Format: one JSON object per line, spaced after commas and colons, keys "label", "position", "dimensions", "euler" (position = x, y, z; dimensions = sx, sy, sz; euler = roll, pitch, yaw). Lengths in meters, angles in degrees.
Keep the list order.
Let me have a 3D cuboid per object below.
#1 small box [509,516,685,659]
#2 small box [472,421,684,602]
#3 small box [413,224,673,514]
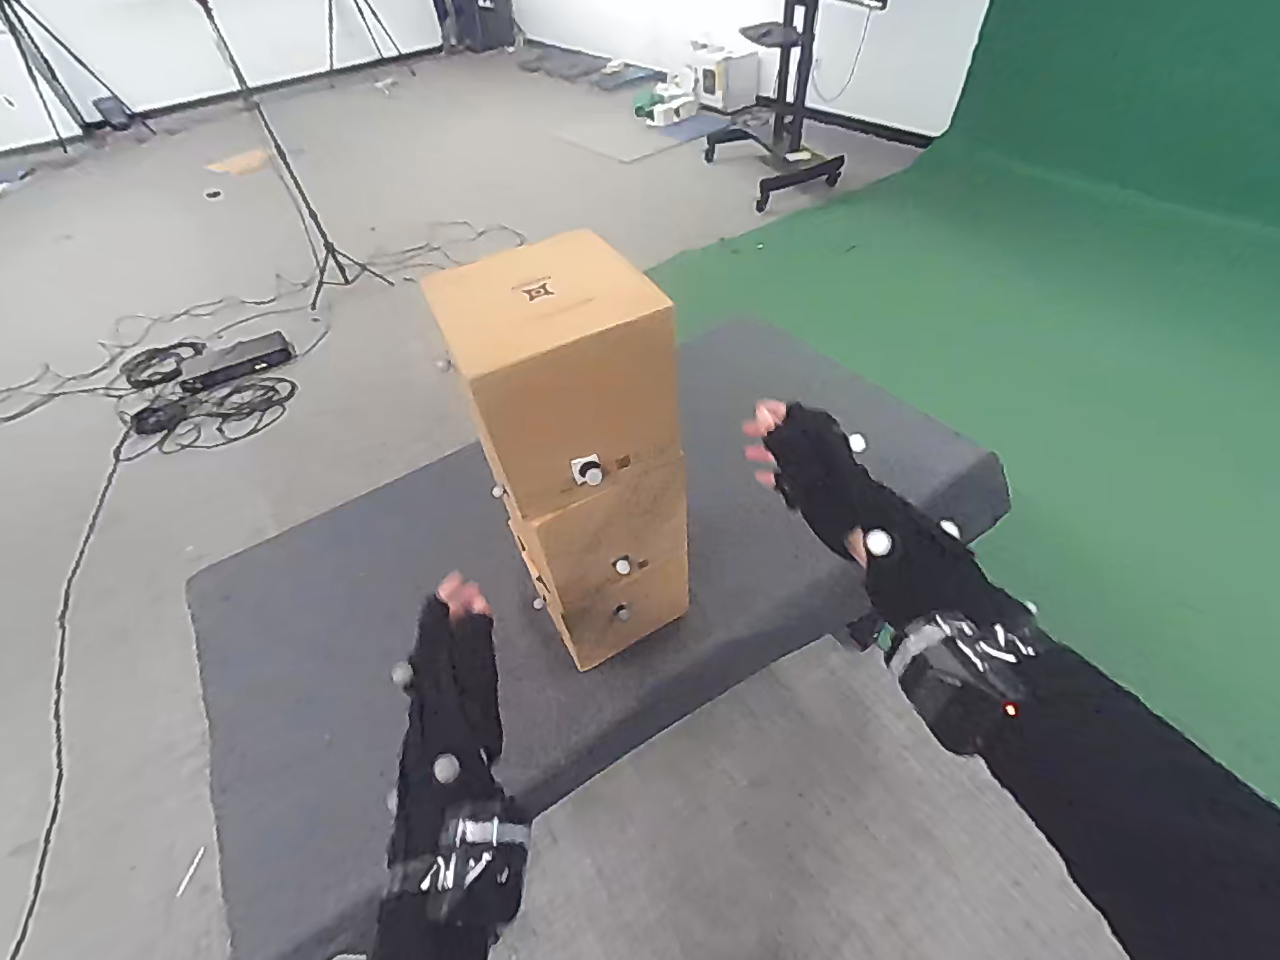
{"label": "small box", "position": [-0.052, 0.112, 0.742], "dimensions": [0.179, 0.176, 0.168], "euler": [-27, 51, -15]}
{"label": "small box", "position": [-0.065, 0.003, 0.619], "dimensions": [0.168, 0.176, 0.179], "euler": [-28, 49, -18]}
{"label": "small box", "position": [-0.082, -0.102, 0.497], "dimensions": [0.168, 0.176, 0.179], "euler": [-25, 51, -13]}
